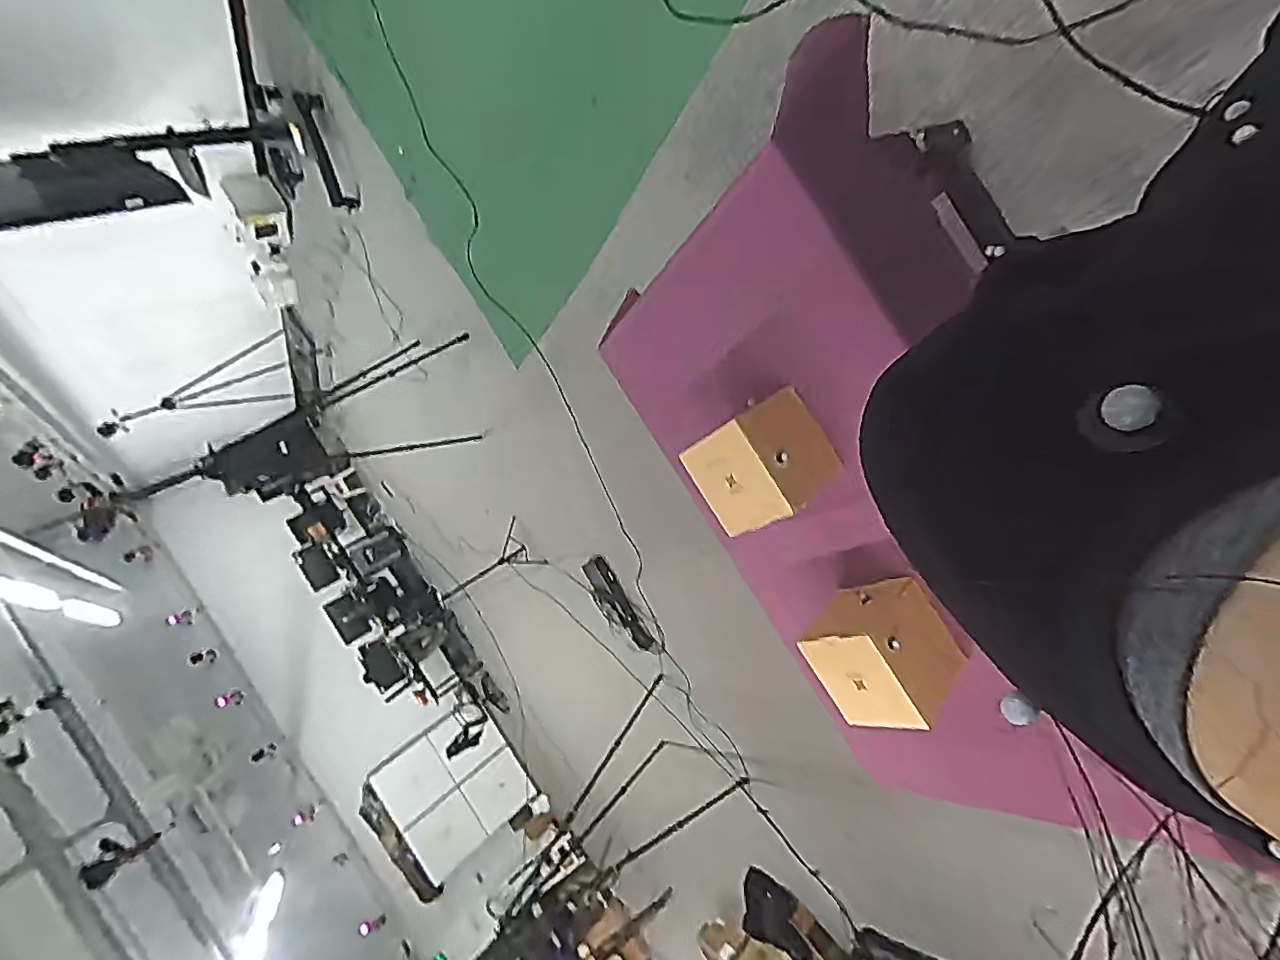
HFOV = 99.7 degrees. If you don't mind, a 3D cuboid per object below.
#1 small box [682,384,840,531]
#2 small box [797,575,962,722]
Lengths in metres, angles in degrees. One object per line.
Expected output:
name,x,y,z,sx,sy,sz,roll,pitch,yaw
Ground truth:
small box,0.214,-0.039,0.946,0.179,0.176,0.168,58,146,0
small box,0.423,0.293,0.950,0.179,0.176,0.168,57,146,2
